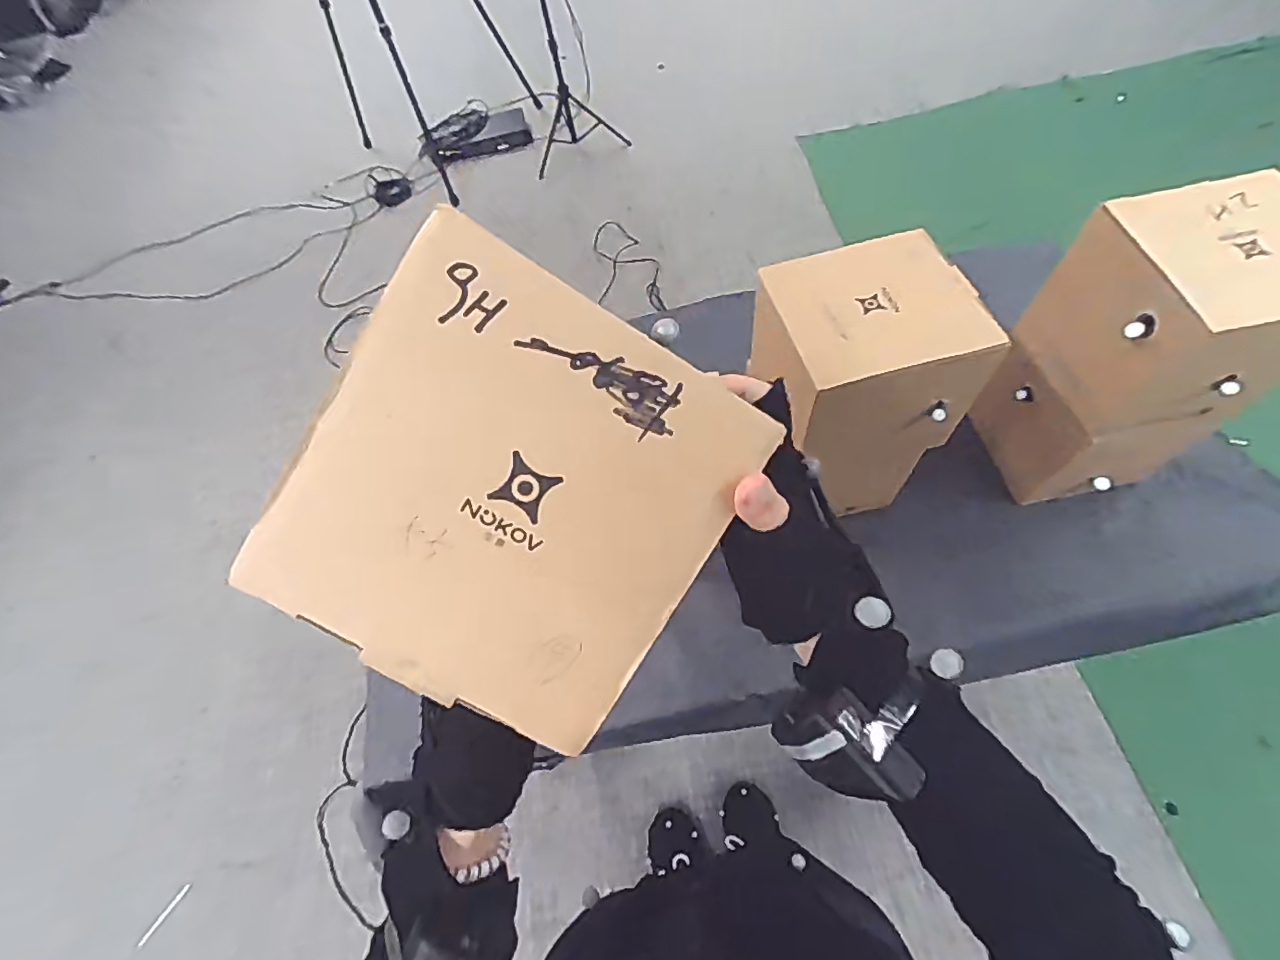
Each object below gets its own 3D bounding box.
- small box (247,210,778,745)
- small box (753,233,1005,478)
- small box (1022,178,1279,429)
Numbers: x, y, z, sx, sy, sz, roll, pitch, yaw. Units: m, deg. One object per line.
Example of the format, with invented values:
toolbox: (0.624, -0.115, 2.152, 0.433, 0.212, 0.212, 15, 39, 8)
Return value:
small box: (-0.057, -0.003, 0.307, 0.168, 0.176, 0.179, 32, 95, -8)
small box: (0.231, -0.124, 0.580, 0.179, 0.176, 0.168, -14, 60, 1)
small box: (0.548, -0.167, 0.558, 0.168, 0.176, 0.179, -10, 60, 3)
